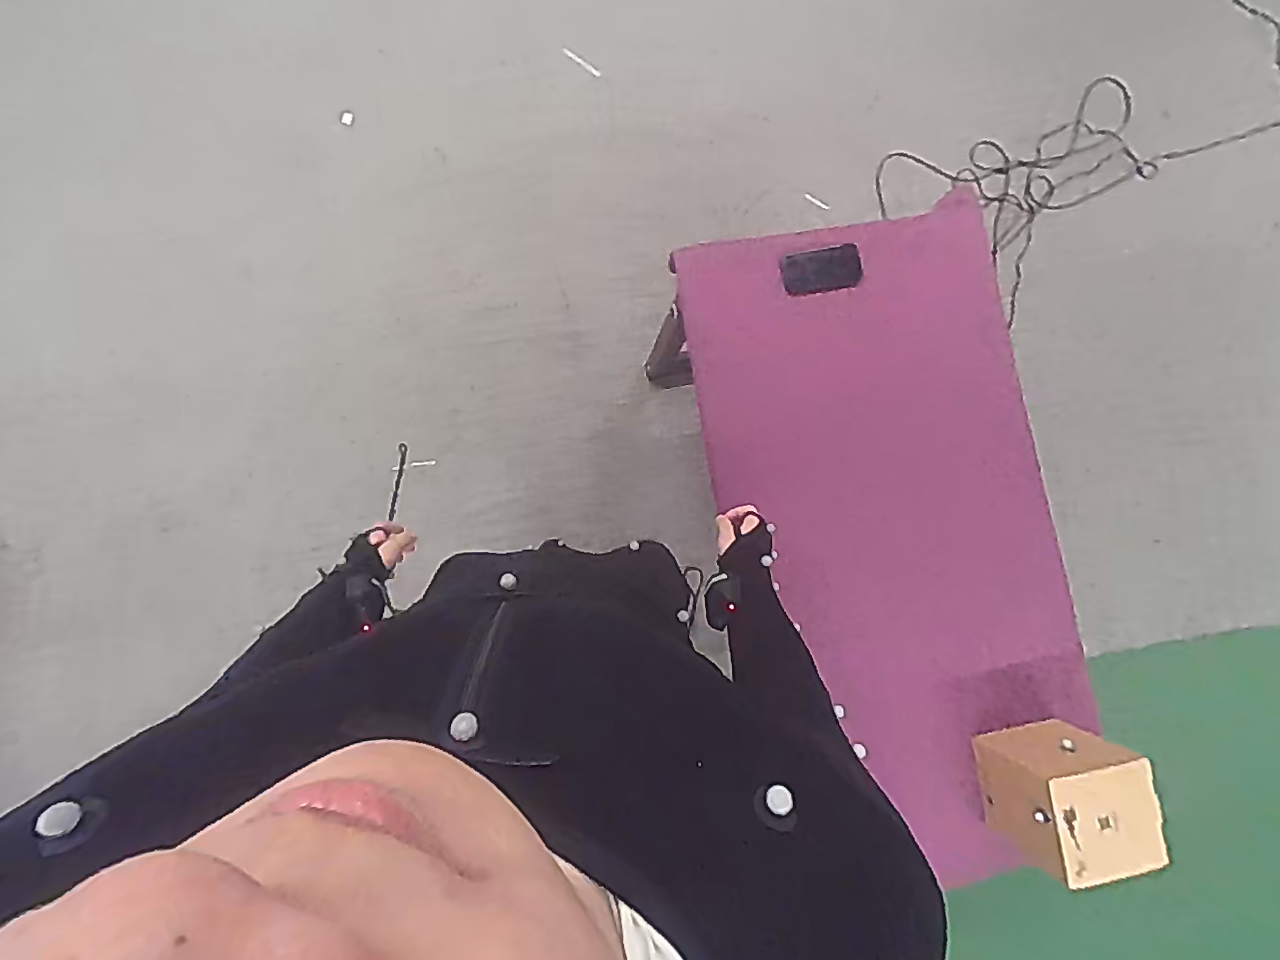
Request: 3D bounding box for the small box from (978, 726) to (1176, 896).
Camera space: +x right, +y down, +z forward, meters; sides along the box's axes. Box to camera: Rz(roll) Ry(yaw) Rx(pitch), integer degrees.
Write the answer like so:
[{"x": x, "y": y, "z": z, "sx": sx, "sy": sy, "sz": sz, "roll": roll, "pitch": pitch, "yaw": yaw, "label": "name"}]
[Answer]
[{"x": 0.708, "y": 0.530, "z": 0.893, "sx": 0.179, "sy": 0.176, "sz": 0.168, "roll": -8, "pitch": 86, "yaw": -7, "label": "small box"}]
